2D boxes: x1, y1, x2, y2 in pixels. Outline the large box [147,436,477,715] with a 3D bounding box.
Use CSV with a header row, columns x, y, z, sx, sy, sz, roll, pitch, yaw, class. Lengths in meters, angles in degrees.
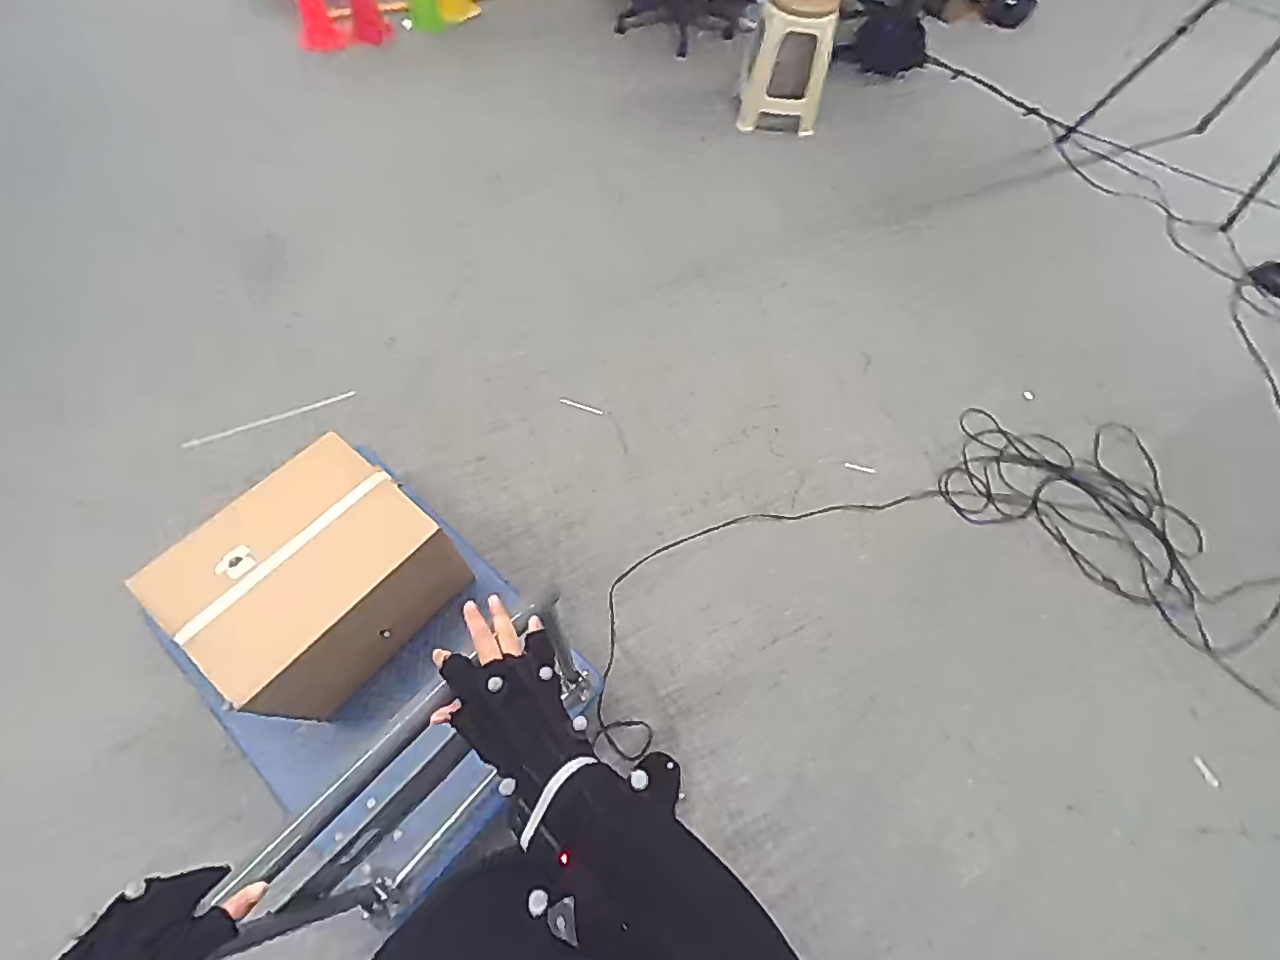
x,y,z,sx,sy,sz,roll,pitch,yaw,class
-0.603,0.198,1.083,0.320,0.320,0.408,37,67,15,large box
